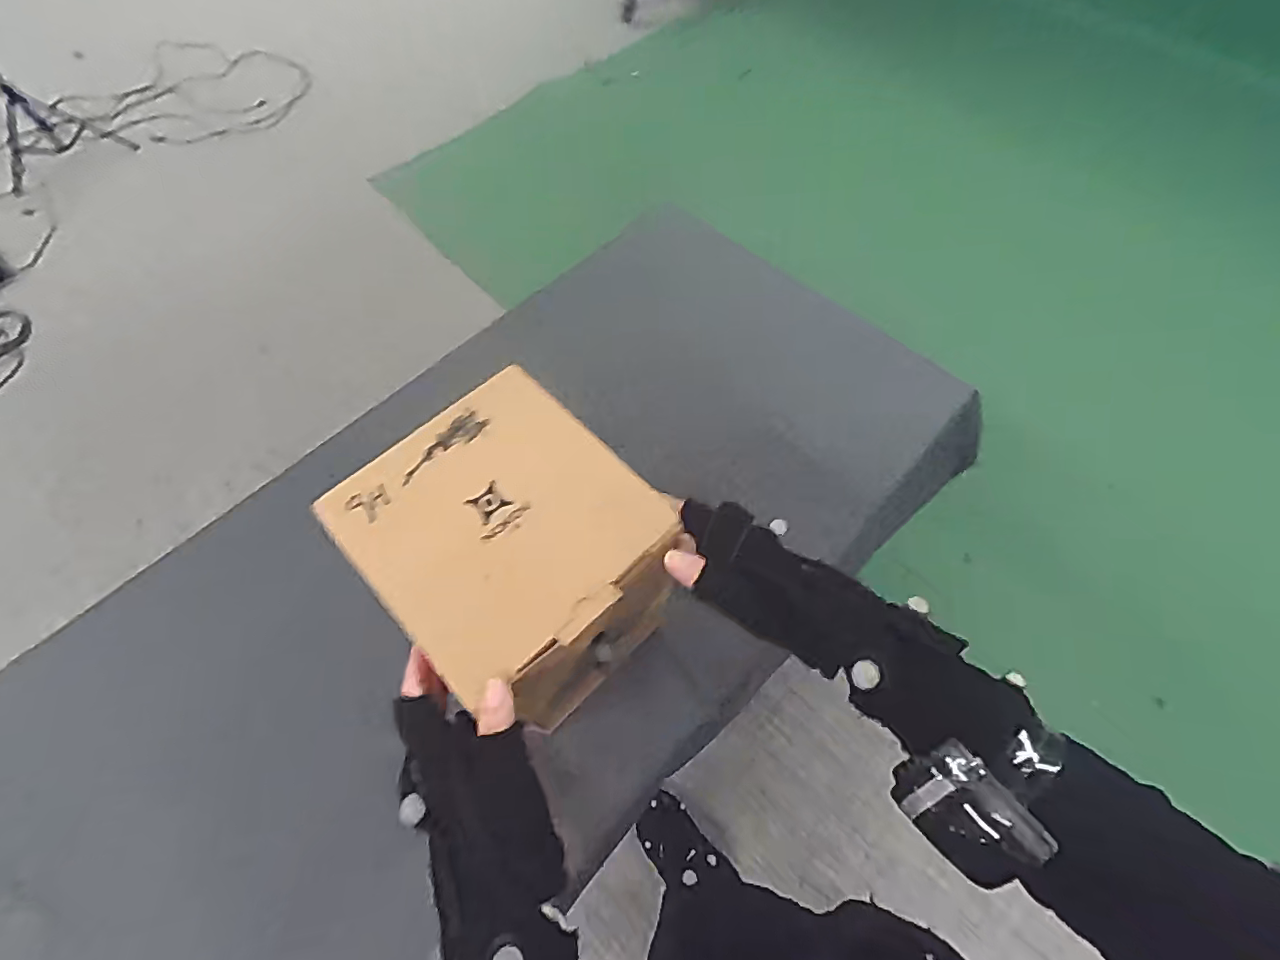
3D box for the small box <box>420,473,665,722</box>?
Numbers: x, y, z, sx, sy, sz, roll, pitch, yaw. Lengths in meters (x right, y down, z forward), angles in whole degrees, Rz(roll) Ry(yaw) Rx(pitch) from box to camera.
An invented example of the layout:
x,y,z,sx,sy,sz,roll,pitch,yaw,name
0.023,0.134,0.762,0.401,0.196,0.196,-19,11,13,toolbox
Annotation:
x,y,z,sx,sy,sz,roll,pitch,yaw,name
-0.091,0.133,0.576,0.179,0.176,0.168,-41,71,-20,small box
